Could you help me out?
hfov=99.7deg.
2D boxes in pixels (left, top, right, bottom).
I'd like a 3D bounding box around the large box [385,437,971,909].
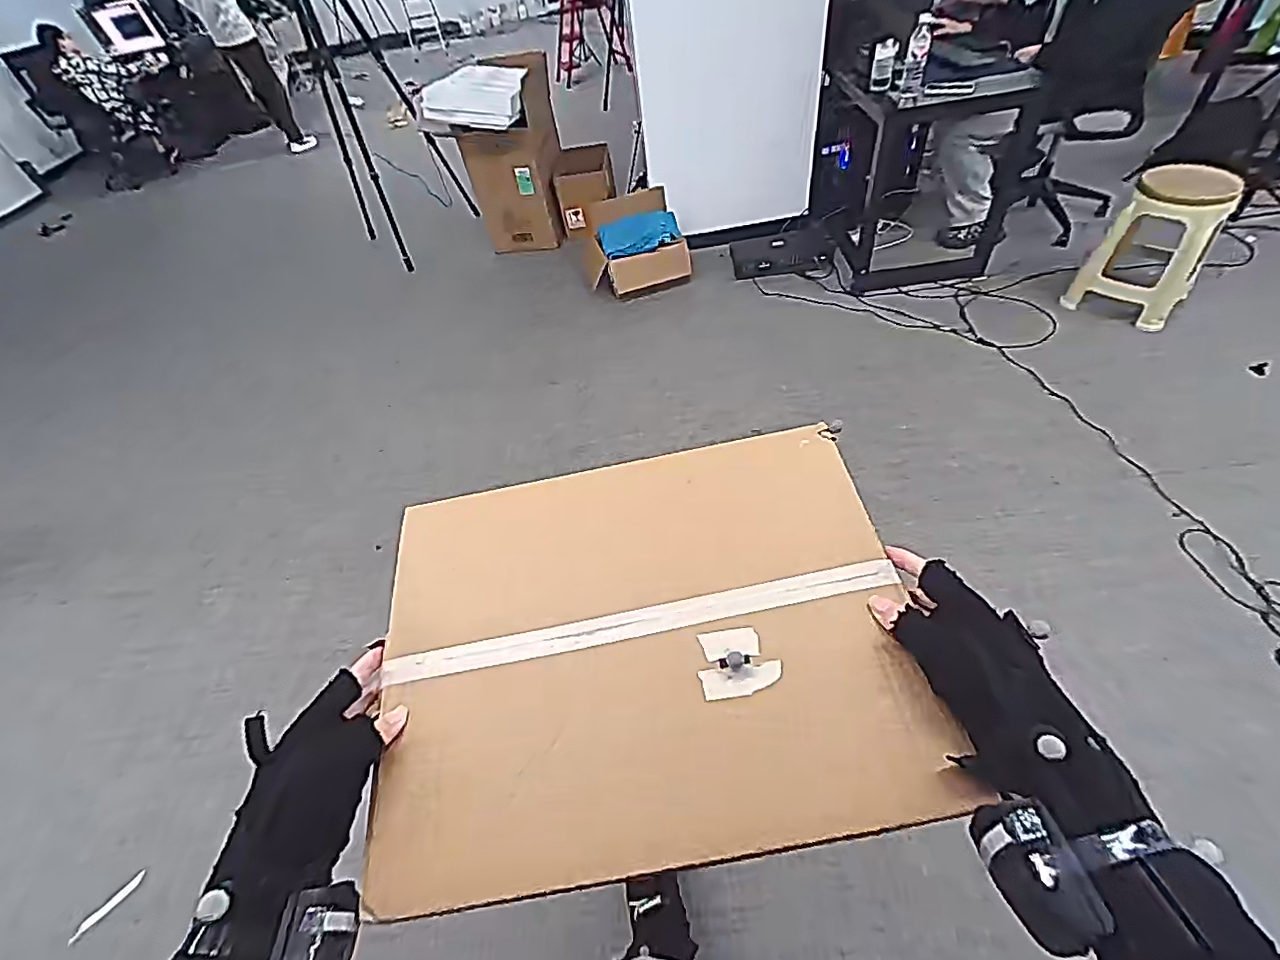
[{"bbox_3d":[0.019,0.205,0.559,0.408,0.320,0.320,-11,55,1],"label":"large box"}]
